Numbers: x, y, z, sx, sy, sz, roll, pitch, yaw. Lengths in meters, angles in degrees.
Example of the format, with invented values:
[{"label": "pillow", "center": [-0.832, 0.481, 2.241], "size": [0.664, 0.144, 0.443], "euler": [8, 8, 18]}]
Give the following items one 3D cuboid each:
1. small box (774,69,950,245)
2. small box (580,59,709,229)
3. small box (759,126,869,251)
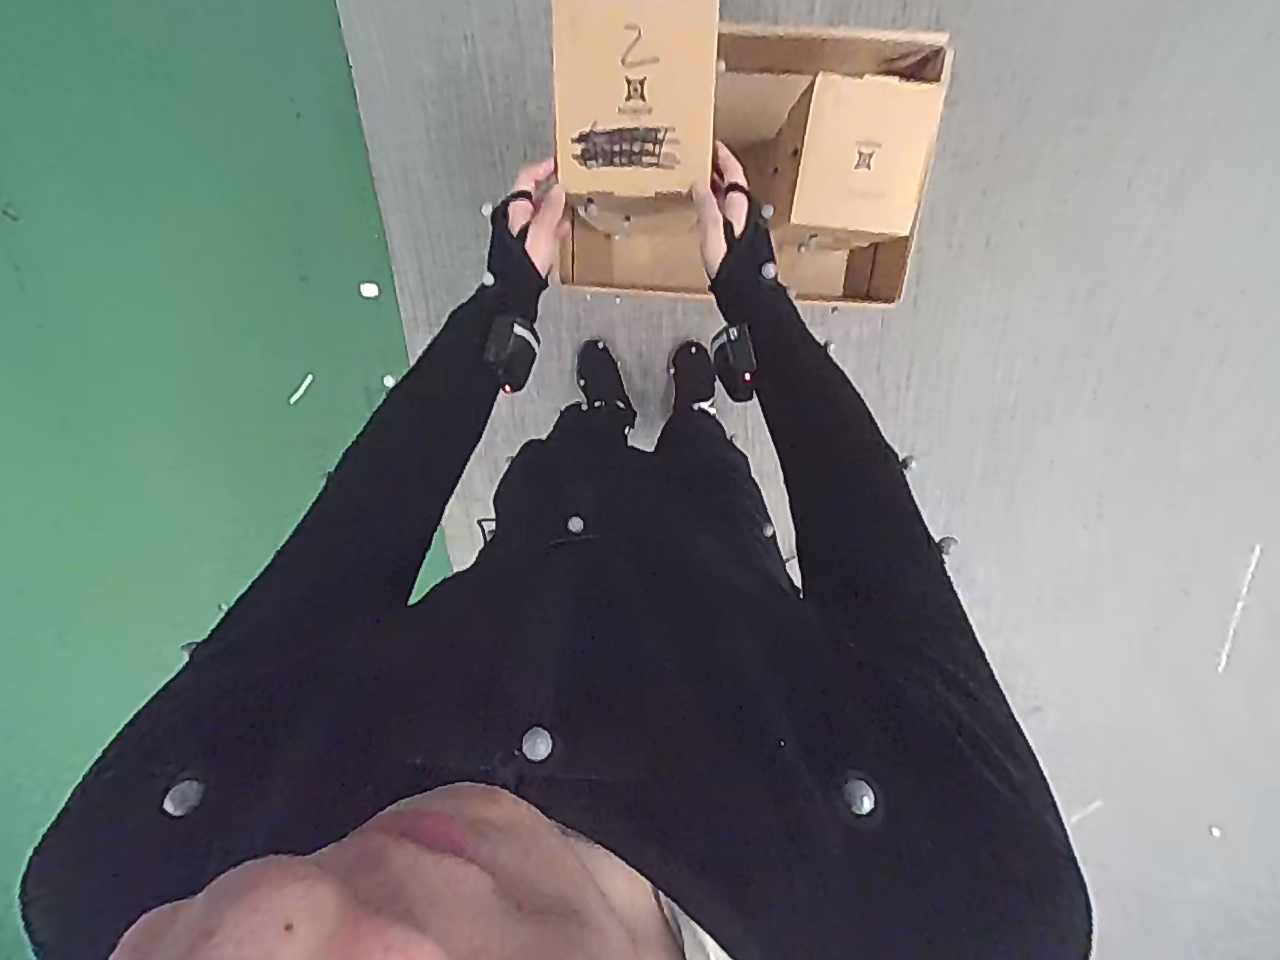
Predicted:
[{"label": "small box", "center": [0.300, -0.446, 0.774], "size": [0.168, 0.176, 0.179], "euler": [7, 110, 0]}, {"label": "small box", "center": [0.006, -0.468, 0.776], "size": [0.168, 0.176, 0.179], "euler": [1, 109, 2]}, {"label": "small box", "center": [0.310, -0.502, 0.928], "size": [0.168, 0.176, 0.179], "euler": [7, 110, 0]}]
